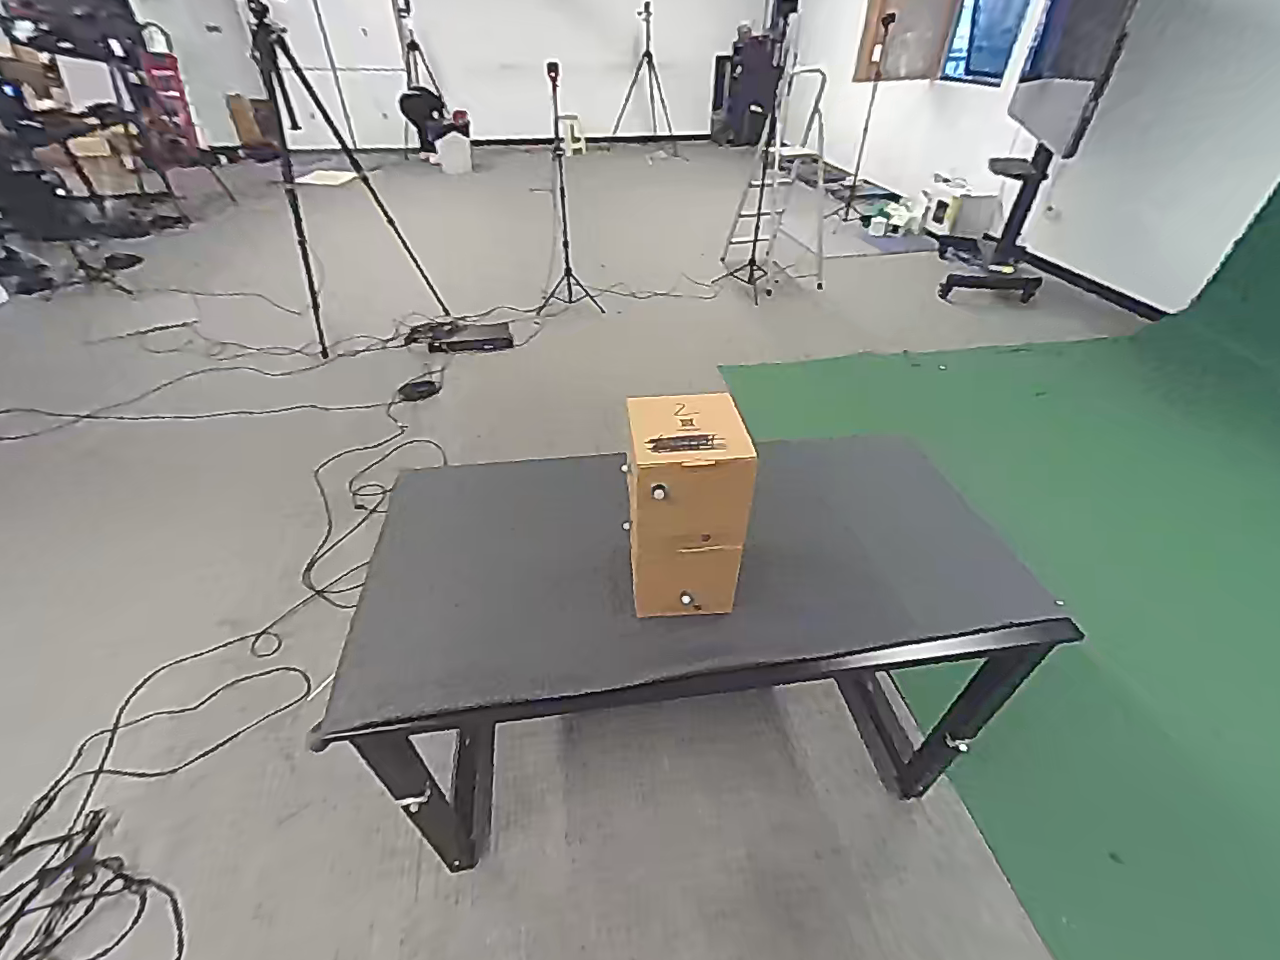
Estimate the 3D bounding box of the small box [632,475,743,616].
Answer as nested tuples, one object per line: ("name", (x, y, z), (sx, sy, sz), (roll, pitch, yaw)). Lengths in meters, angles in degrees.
("small box", (0.070, 0.111, 0.931), (0.168, 0.176, 0.179), (-2, 39, -3))
